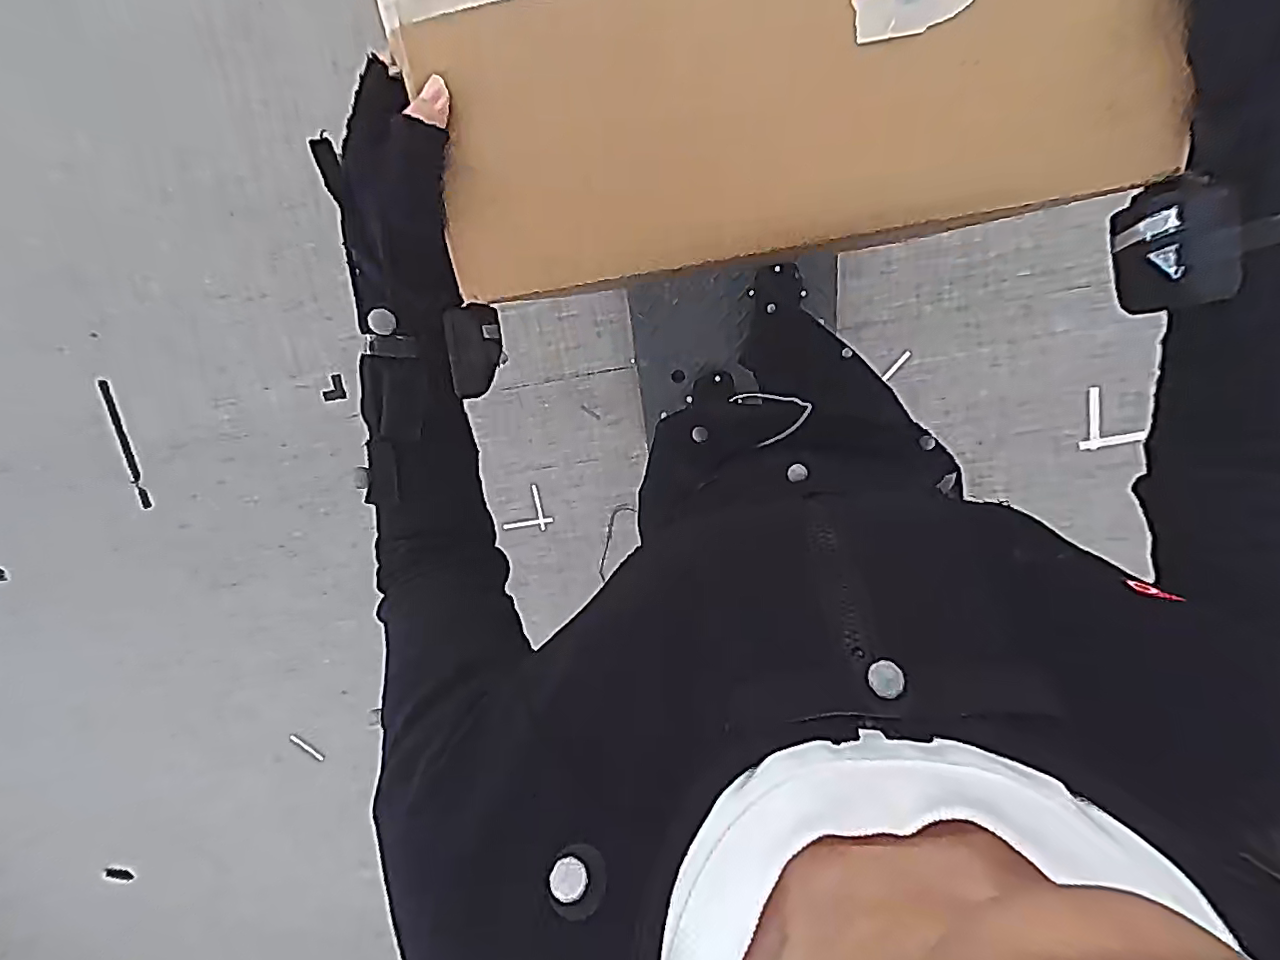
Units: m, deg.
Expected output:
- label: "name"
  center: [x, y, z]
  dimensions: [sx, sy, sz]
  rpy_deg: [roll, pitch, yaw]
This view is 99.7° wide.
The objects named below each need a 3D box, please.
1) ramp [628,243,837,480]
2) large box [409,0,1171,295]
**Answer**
- label: "ramp"
  center: [0.215, -0.470, 1.277]
  dimensions: [0.509, 0.206, 0.991]
  rpy_deg: [-7, 104, 7]
- label: "large box"
  center: [0.074, -0.340, 0.420]
  dimensions: [0.408, 0.320, 0.320]
  rpy_deg: [-8, 109, 8]
